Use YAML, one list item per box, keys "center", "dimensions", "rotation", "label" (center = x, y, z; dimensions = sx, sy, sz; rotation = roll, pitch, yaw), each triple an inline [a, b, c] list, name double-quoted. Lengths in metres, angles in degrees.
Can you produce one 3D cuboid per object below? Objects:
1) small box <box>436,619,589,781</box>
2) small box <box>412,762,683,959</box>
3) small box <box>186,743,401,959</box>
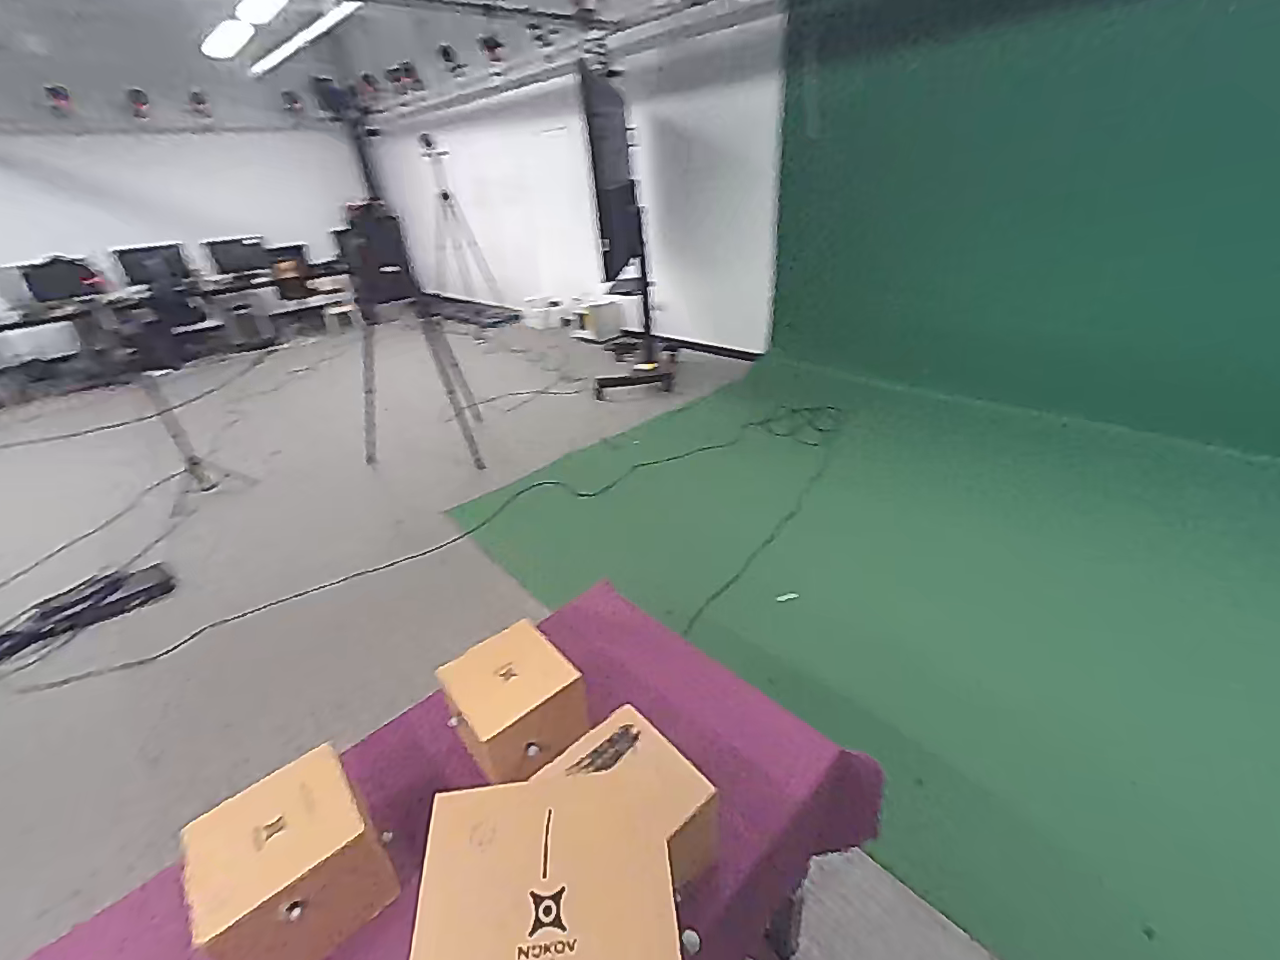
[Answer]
- center: [-0.202, 0.371, 0.886]
  dimensions: [0.168, 0.176, 0.179]
  rotation: [-27, 35, -32]
  label: "small box"
- center: [-0.054, 0.335, 0.393]
  dimensions: [0.168, 0.176, 0.179]
  rotation: [-6, 42, -2]
  label: "small box"
- center: [-0.444, 0.500, 0.704]
  dimensions: [0.179, 0.176, 0.168]
  rotation: [-26, 36, -33]
  label: "small box"
